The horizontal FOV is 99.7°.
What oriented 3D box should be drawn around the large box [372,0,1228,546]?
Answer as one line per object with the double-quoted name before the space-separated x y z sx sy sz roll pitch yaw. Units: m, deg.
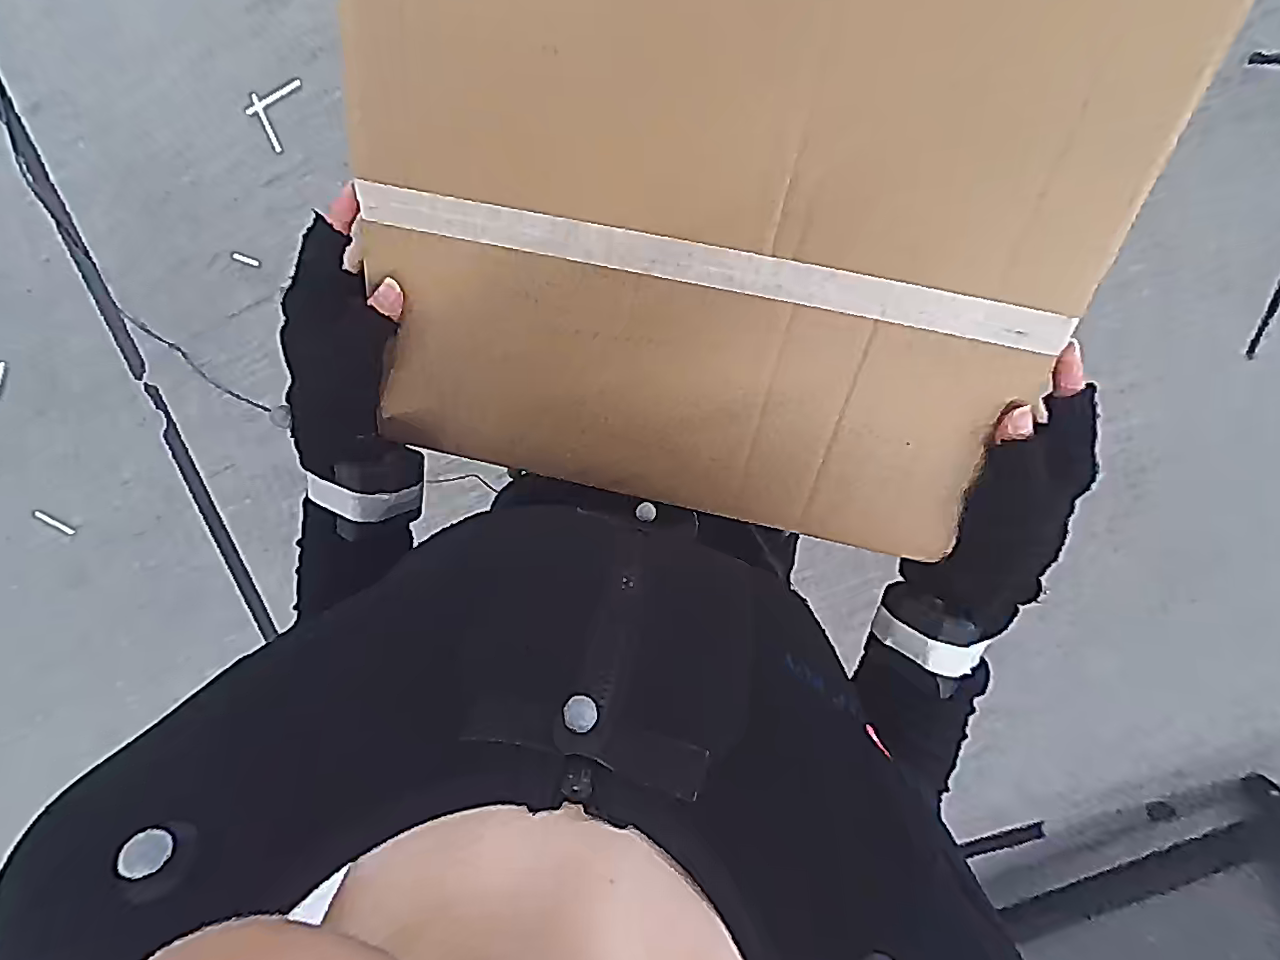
"large box" 0.059 -0.193 0.443 0.408 0.320 0.320 13 120 3
